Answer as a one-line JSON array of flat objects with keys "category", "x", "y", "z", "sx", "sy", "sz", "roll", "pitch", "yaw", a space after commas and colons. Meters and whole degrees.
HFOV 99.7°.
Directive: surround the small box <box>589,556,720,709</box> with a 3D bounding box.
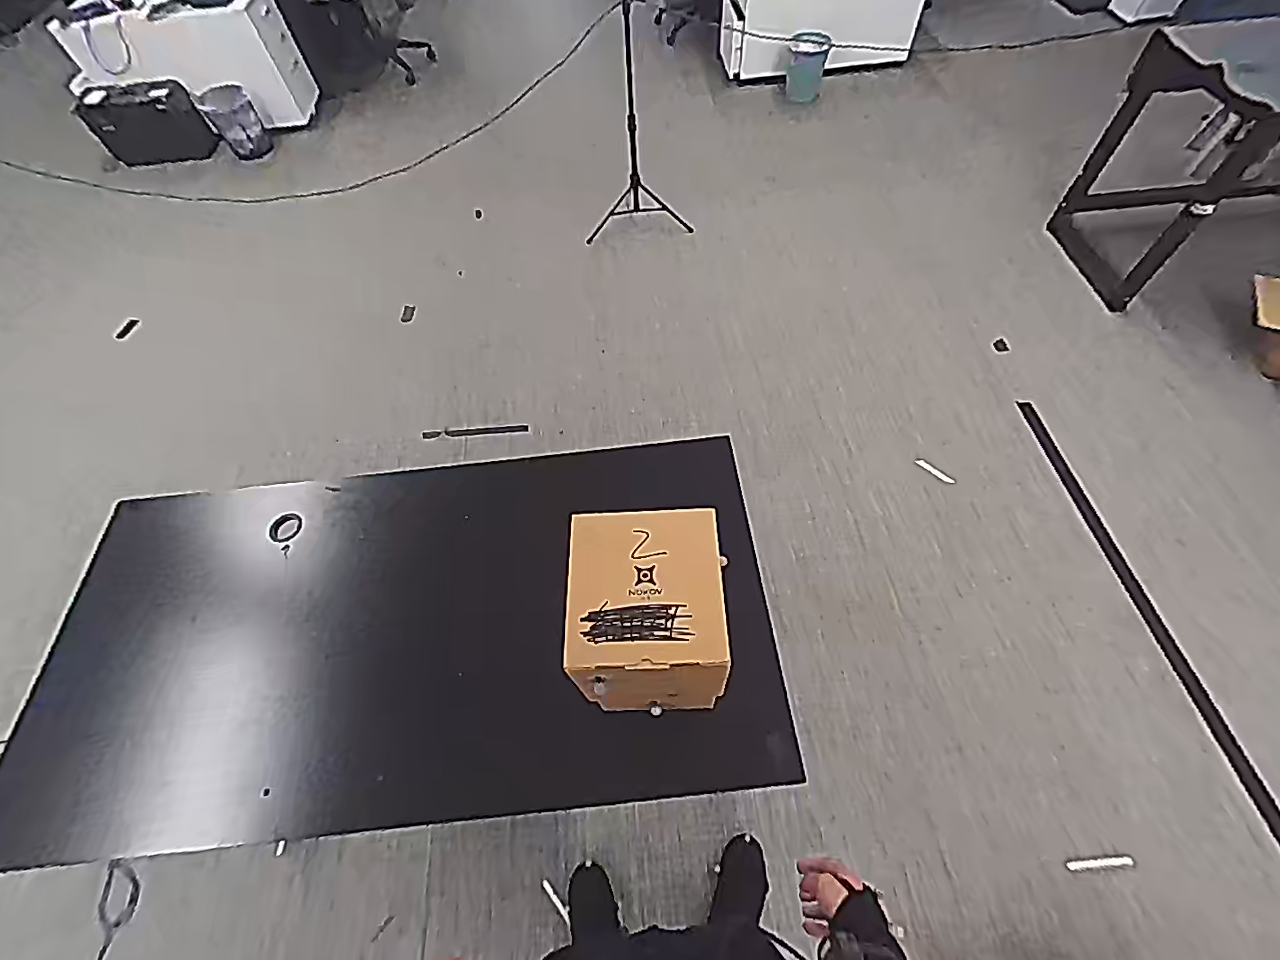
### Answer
[{"category": "small box", "x": 0.022, "y": 0.223, "z": 0.780, "sx": 0.168, "sy": 0.176, "sz": 0.179, "roll": -2, "pitch": 58, "yaw": 4}]
